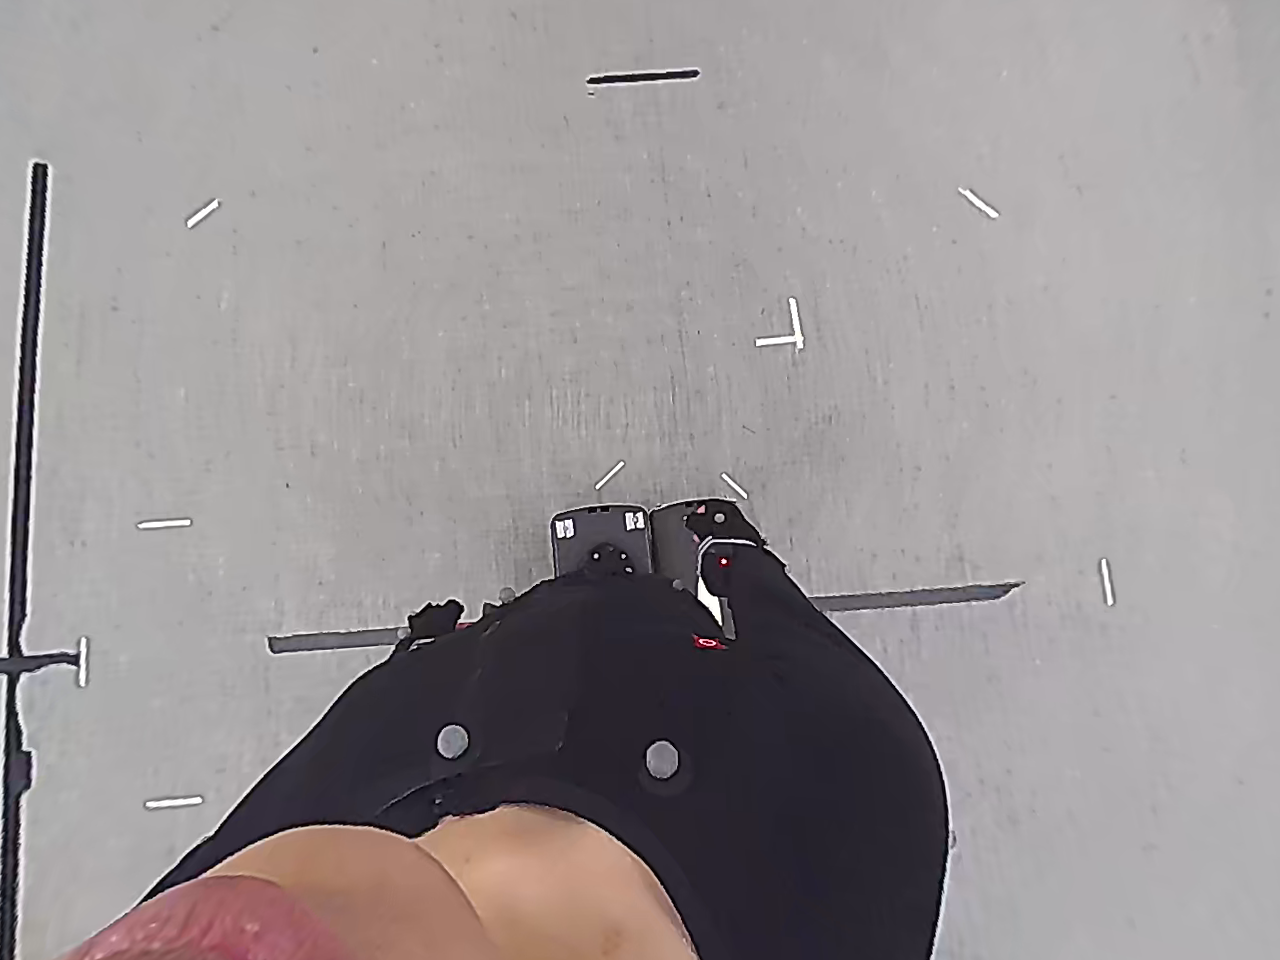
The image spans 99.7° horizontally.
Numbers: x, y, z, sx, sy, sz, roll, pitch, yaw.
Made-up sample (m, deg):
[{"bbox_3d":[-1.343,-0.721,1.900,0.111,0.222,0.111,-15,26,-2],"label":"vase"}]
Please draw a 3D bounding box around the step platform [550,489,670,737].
[{"bbox_3d":[-0.089,0.369,1.565,0.286,0.204,0.684,-6,82,-3],"label":"step platform"}]
